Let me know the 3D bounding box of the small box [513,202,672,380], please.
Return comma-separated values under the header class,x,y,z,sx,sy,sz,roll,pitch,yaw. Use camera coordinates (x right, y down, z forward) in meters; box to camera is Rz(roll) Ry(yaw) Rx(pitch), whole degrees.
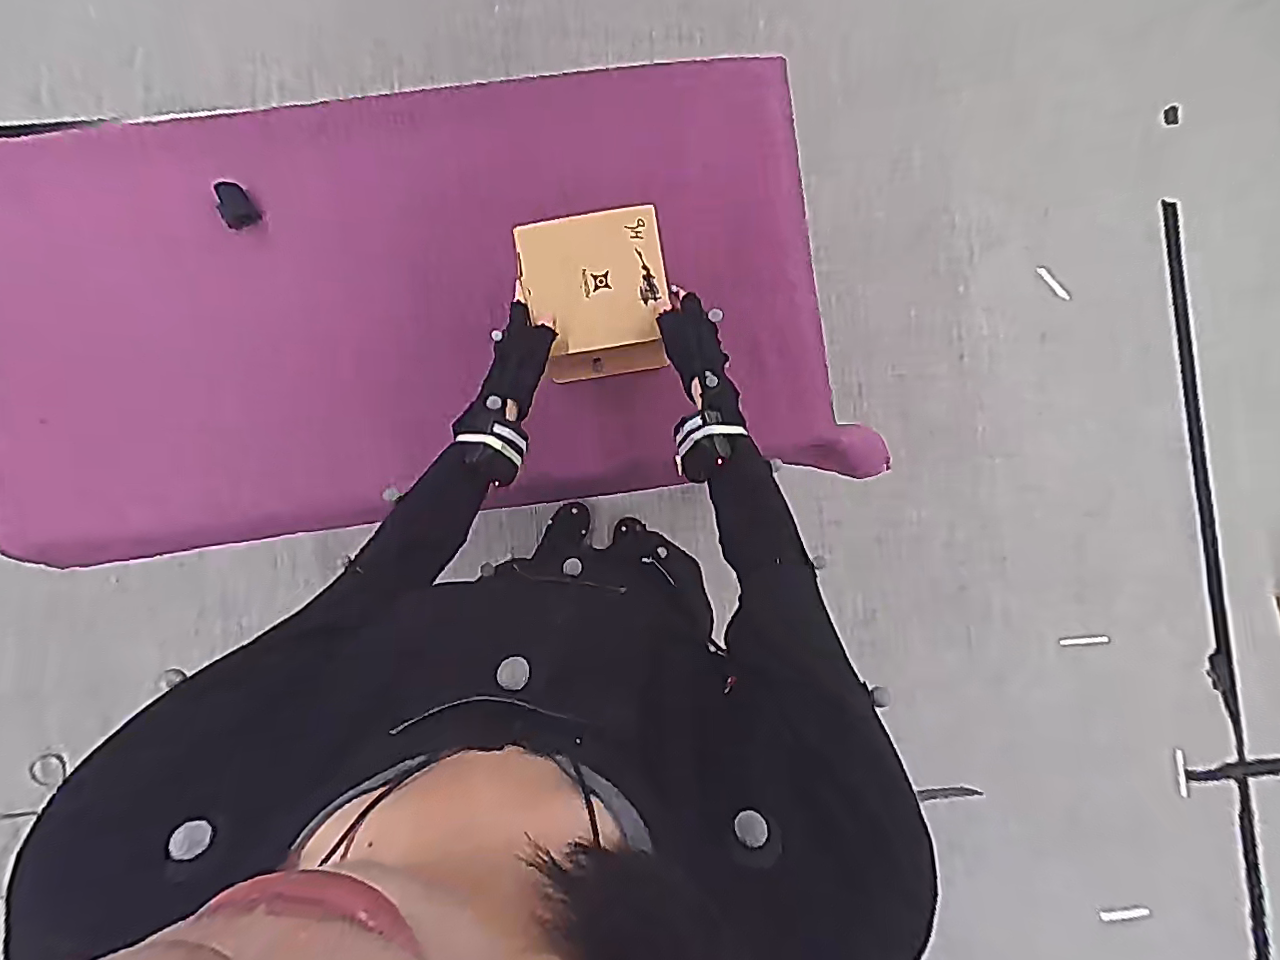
class,x,y,z,sx,sy,sz,roll,pitch,yaw
small box,-0.054,-0.240,0.729,0.179,0.176,0.168,-9,90,2
